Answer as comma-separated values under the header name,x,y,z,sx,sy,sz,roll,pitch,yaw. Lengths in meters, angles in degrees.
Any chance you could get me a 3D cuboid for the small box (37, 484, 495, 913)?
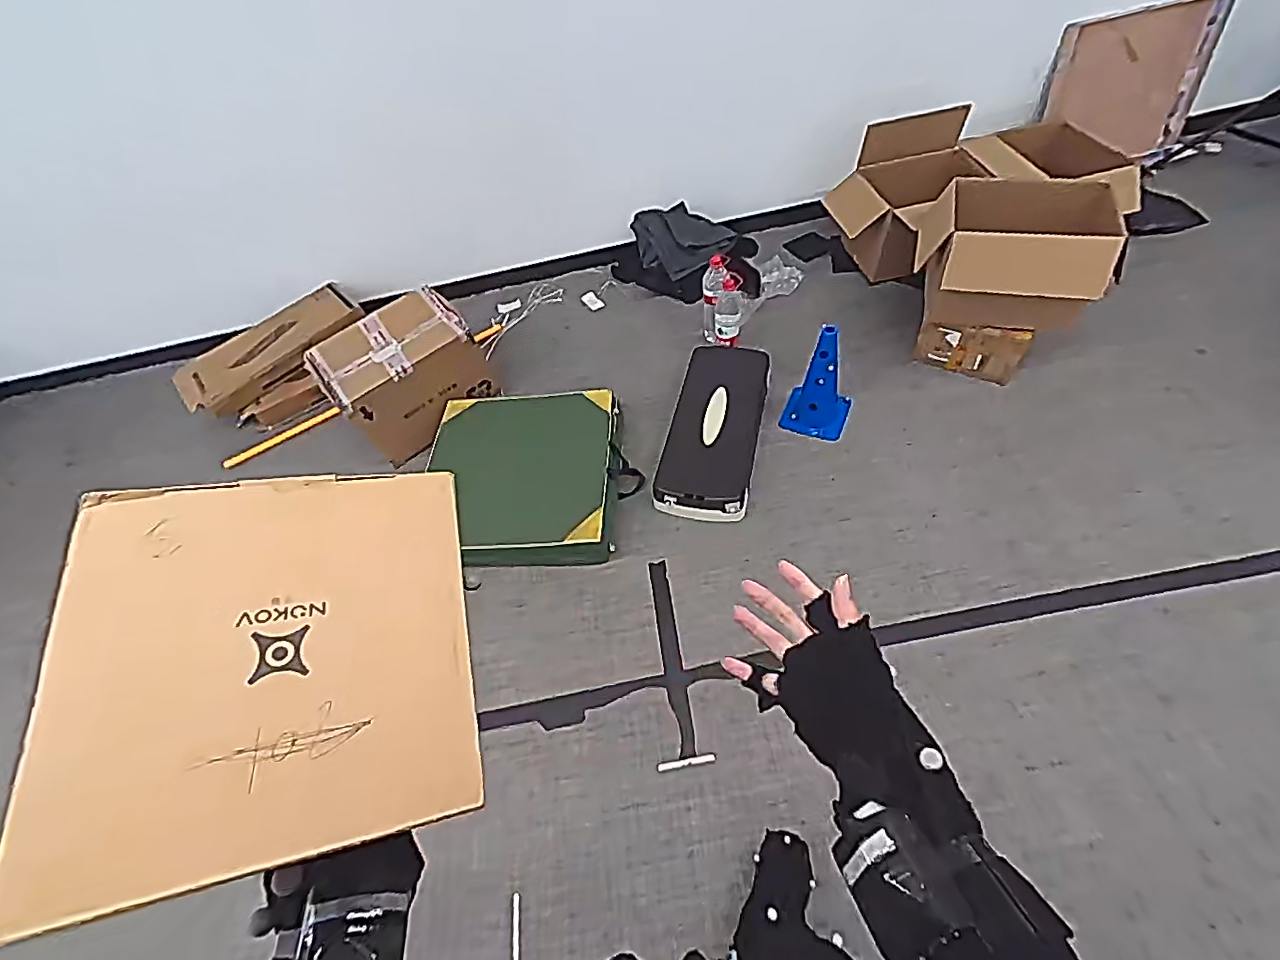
name,x,y,z,sx,sy,sz,roll,pitch,yaw
small box,-0.186,0.120,0.327,0.168,0.176,0.179,-3,62,-22
